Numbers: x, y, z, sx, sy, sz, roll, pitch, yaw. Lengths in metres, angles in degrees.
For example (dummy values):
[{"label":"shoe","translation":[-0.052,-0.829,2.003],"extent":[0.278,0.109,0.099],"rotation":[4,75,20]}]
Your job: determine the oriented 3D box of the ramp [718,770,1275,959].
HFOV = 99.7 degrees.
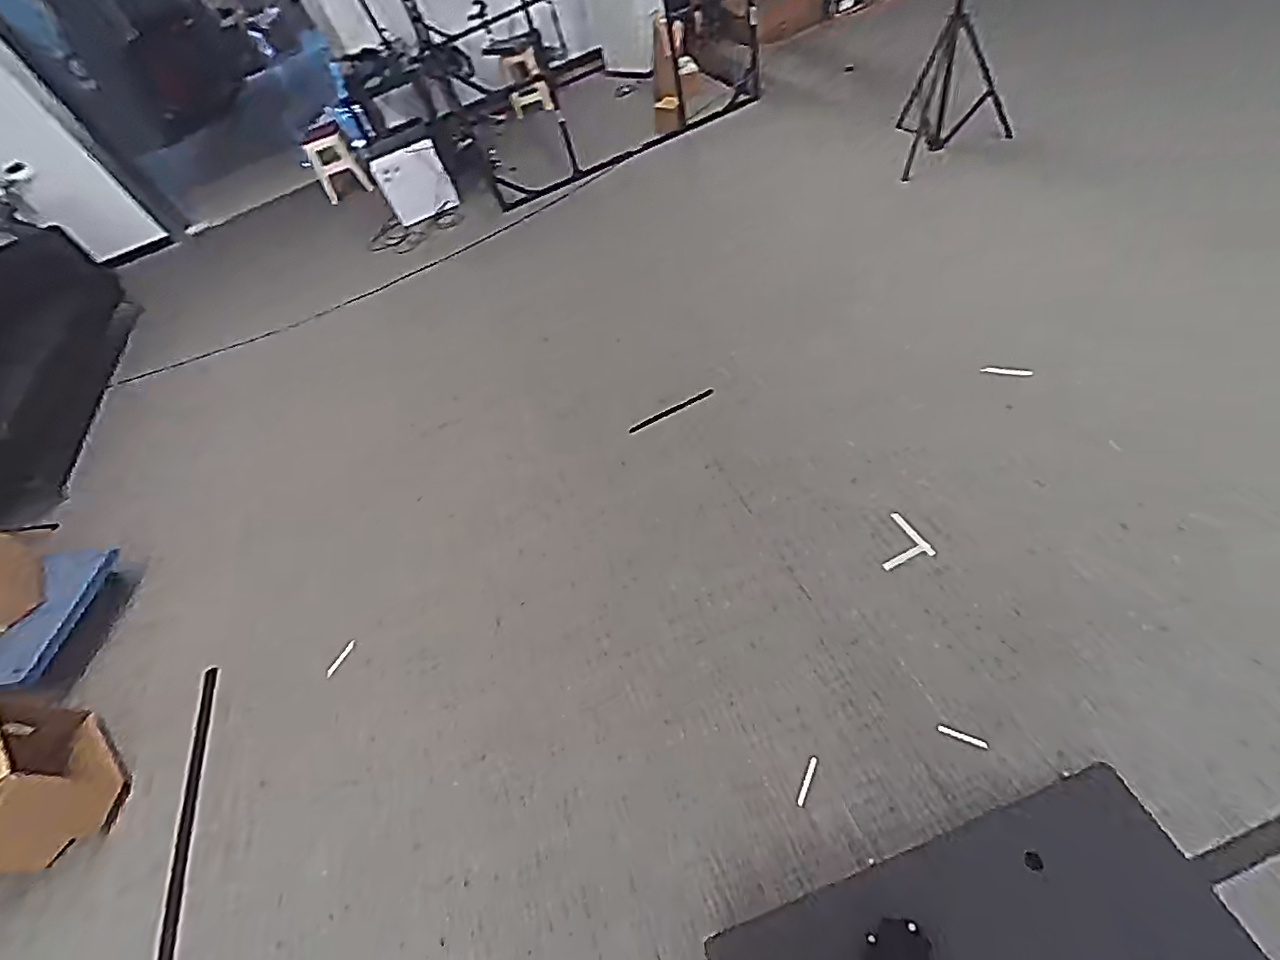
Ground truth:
[{"label":"ramp","translation":[0.688,0.976,1.008],"extent":[0.991,0.206,0.509],"rotation":[-26,48,-3]}]
